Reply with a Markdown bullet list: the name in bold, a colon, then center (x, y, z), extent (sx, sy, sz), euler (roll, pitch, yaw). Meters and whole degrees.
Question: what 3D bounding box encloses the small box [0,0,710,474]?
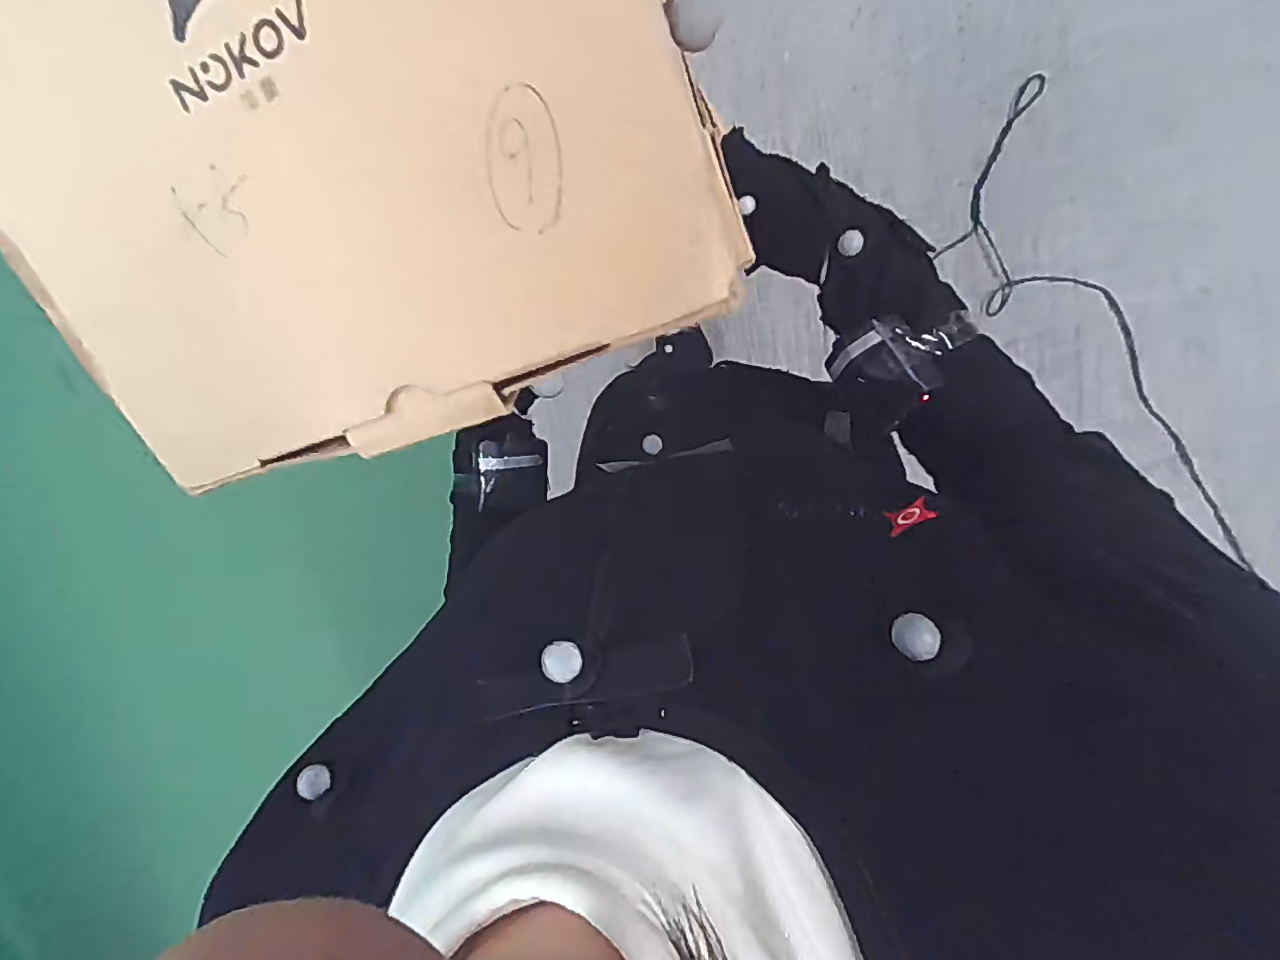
- **small box**: center (-0.077, -0.128, 0.181), extent (0.168, 0.176, 0.179), euler (-14, 111, 15)
